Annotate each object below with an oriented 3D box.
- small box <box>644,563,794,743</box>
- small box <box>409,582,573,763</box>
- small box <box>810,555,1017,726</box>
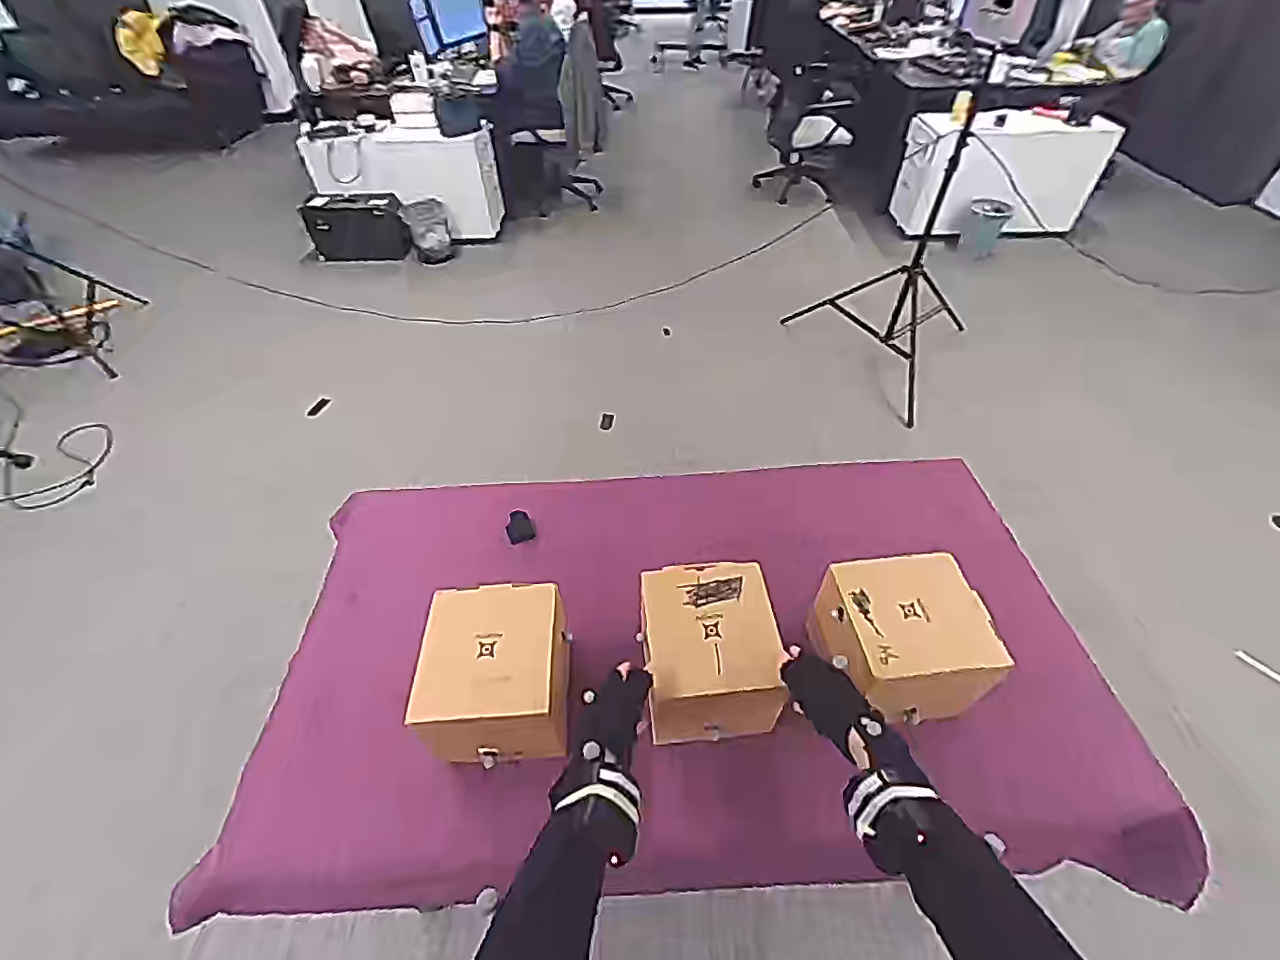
[{"bbox_3d":[0.094,0.237,0.741,0.168,0.176,0.179,-5,48,-3],"label":"small box"},{"bbox_3d":[-0.184,0.259,0.729,0.168,0.176,0.179,-4,48,-1],"label":"small box"},{"bbox_3d":[0.357,0.223,0.747,0.179,0.176,0.168,-4,46,-3],"label":"small box"}]
